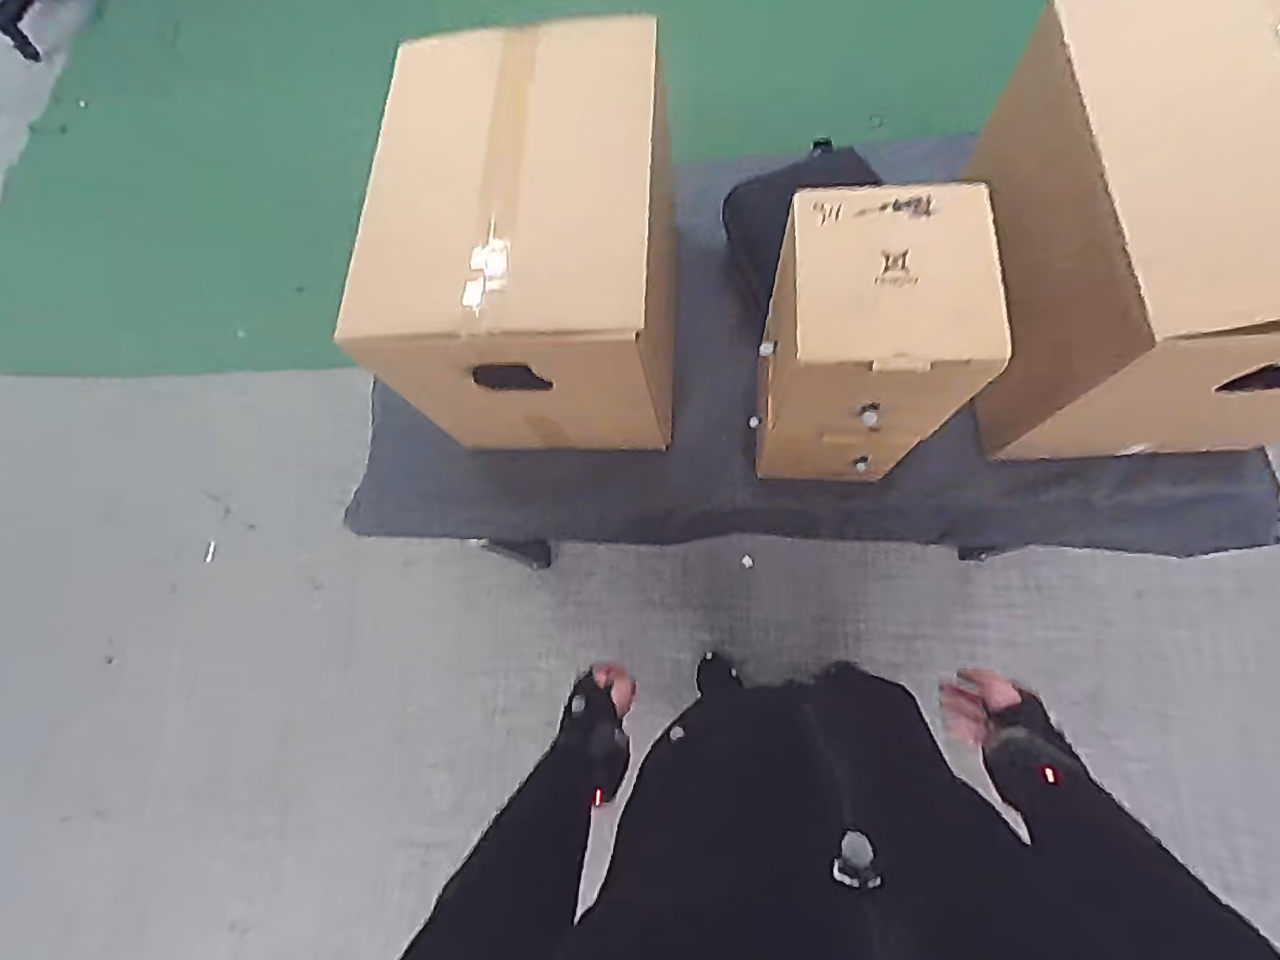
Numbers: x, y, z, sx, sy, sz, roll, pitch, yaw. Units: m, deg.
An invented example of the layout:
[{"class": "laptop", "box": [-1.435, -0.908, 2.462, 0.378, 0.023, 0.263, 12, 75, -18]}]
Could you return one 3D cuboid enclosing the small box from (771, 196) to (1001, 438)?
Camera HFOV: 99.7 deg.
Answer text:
[{"class": "small box", "box": [0.225, -0.148, 0.543, 0.168, 0.176, 0.179, 1, 75, 7]}]
